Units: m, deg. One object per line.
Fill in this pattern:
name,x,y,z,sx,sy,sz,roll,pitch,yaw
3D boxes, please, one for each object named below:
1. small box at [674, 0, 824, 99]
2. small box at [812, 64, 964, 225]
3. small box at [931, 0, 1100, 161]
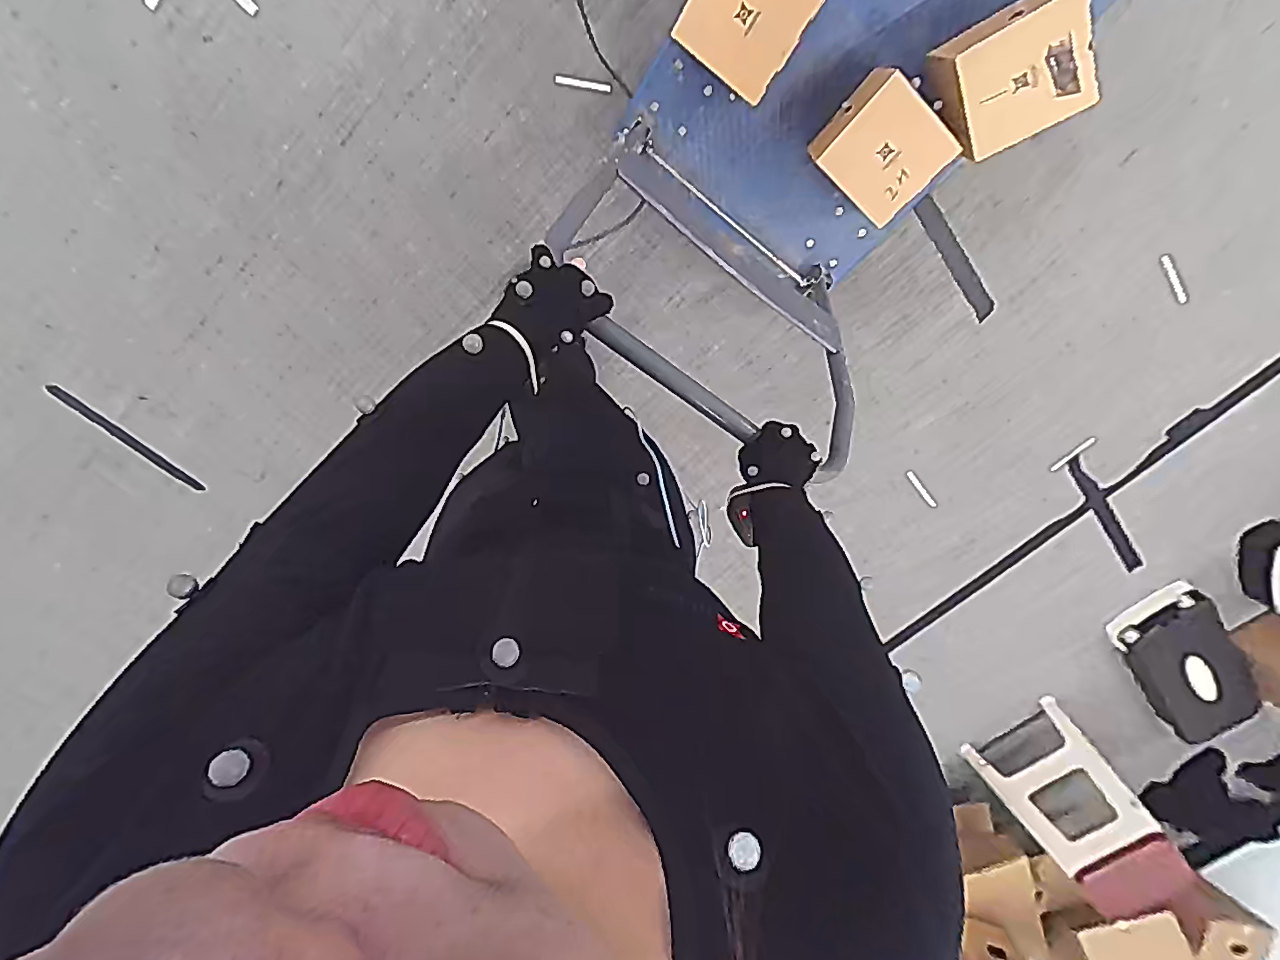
small box,0.175,-0.767,0.885,0.179,0.176,0.168,30,128,-16
small box,0.432,-0.601,0.971,0.179,0.176,0.168,36,127,-18
small box,0.607,-0.665,0.887,0.179,0.176,0.168,-19,123,25
